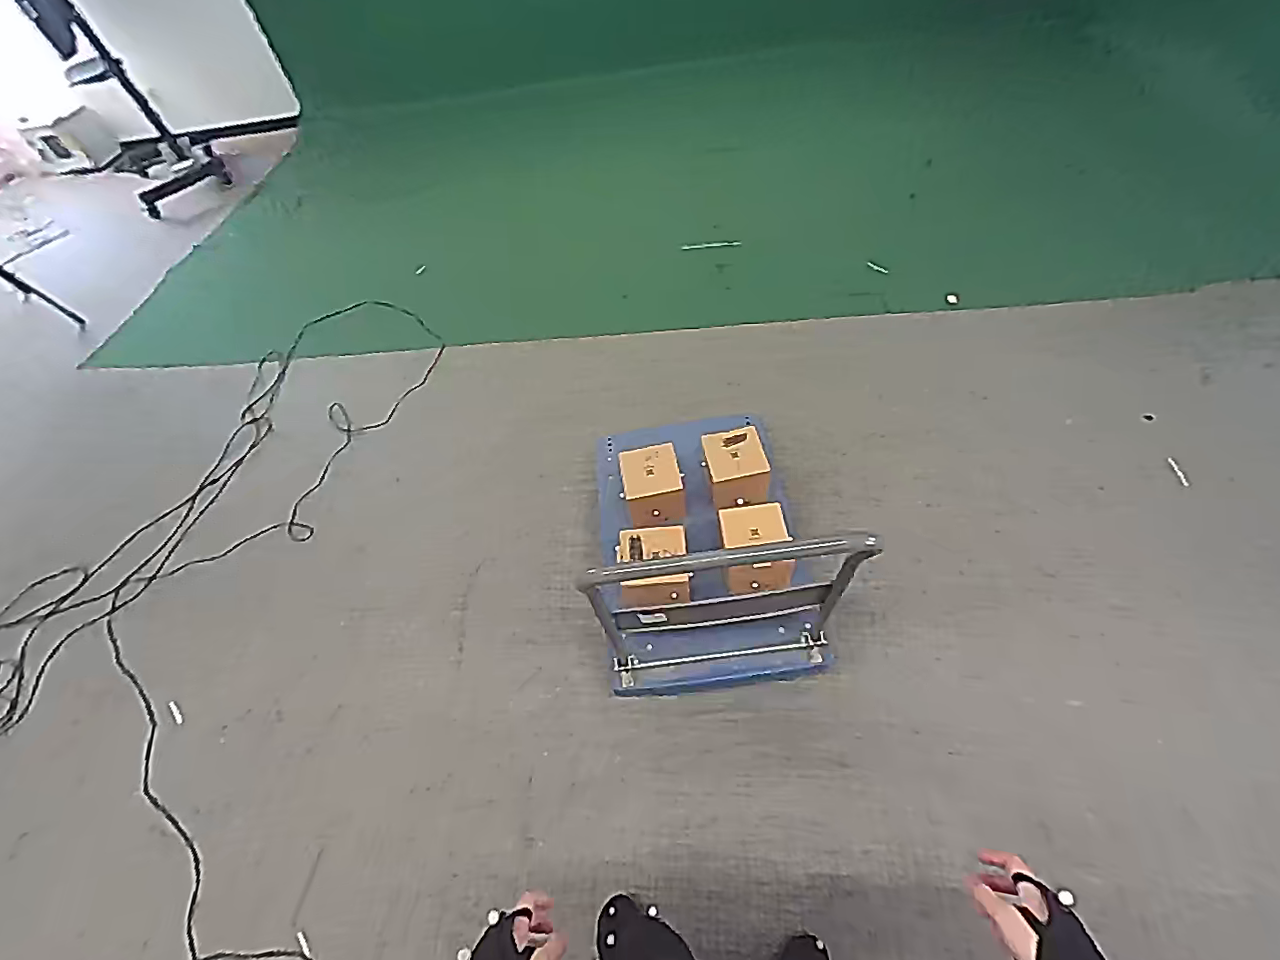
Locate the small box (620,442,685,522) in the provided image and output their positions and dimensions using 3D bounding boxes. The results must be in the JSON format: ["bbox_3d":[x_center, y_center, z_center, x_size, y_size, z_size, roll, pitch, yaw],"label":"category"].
[{"bbox_3d":[0.040,0.015,1.653,0.168,0.176,0.179,-11,54,0],"label":"small box"}]

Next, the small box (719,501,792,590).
[{"bbox_3d":[0.311,0.182,1.493,0.168,0.176,0.179,-8,55,3],"label":"small box"}]

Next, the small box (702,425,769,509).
[{"bbox_3d":[0.286,-0.036,1.650,0.168,0.176,0.179,-12,55,2],"label":"small box"}]
